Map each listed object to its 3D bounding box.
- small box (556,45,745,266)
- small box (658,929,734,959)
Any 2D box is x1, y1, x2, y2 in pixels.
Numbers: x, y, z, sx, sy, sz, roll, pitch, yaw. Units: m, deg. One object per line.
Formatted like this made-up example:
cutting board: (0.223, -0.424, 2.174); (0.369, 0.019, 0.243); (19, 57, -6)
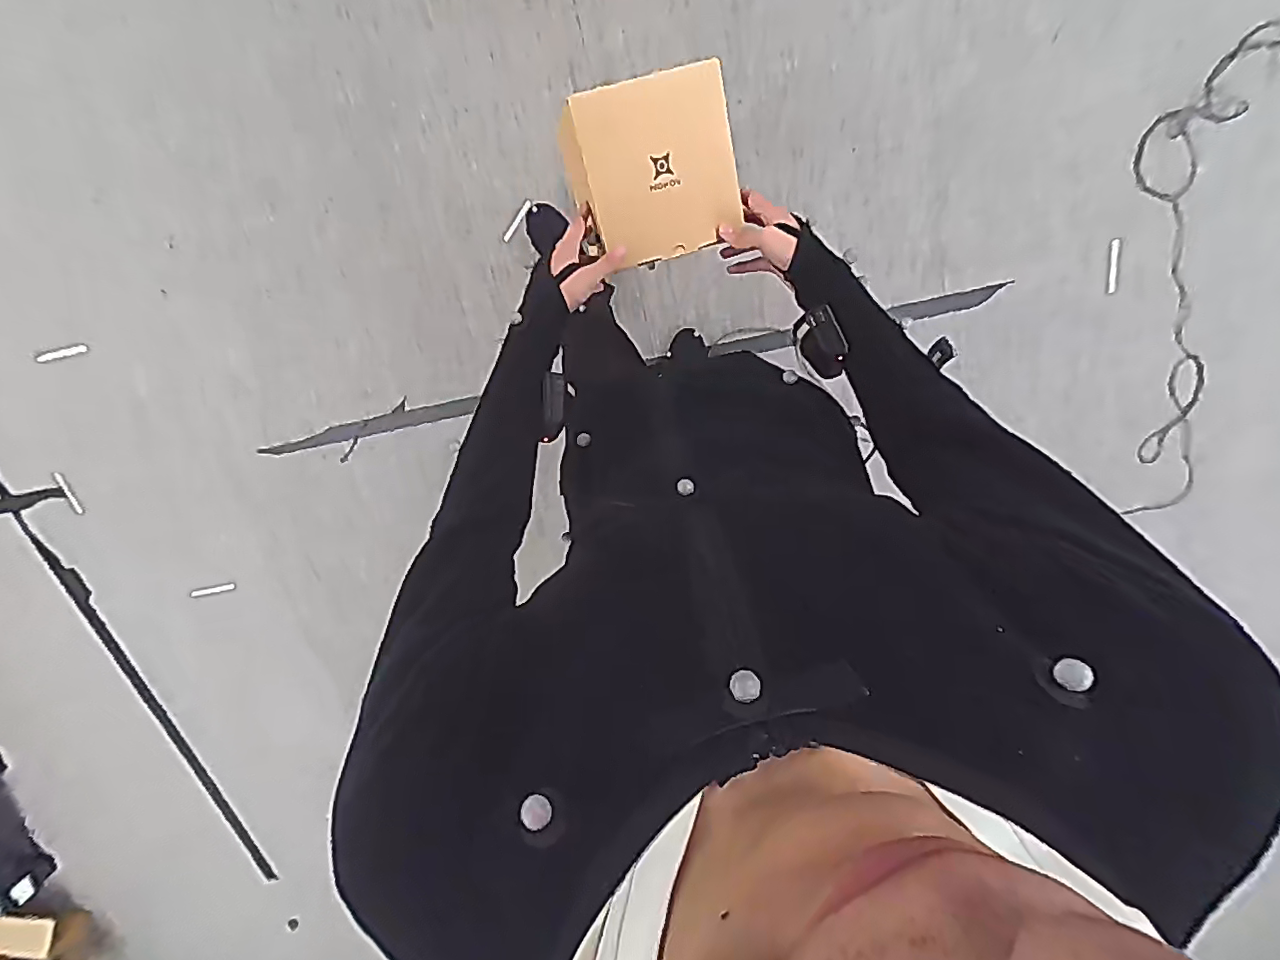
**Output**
small box: (0.005, -0.366, 0.643); (0.168, 0.176, 0.179); (-19, 115, -3)
small box: (0.141, 1.181, 1.247); (0.179, 0.176, 0.168); (-11, 108, 4)
